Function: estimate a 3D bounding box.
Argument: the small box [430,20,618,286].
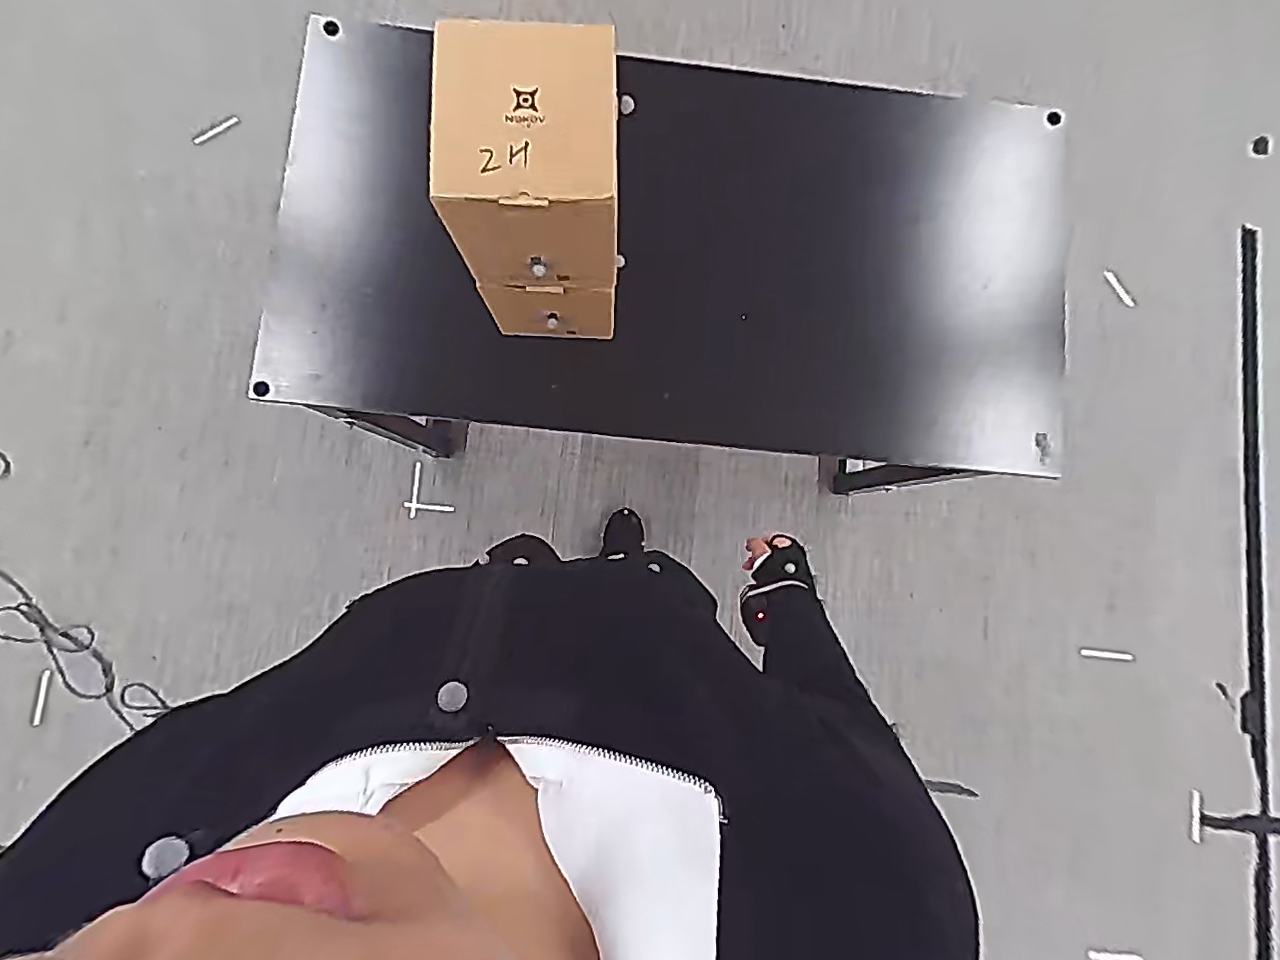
[{"bbox_3d":[-0.108,-0.329,0.572,0.168,0.176,0.179,0,84,-2],"label":"small box"}]

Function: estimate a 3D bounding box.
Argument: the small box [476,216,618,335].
[{"bbox_3d":[-0.116,-0.308,0.736,0.168,0.176,0.179,1,85,-2],"label":"small box"}]
